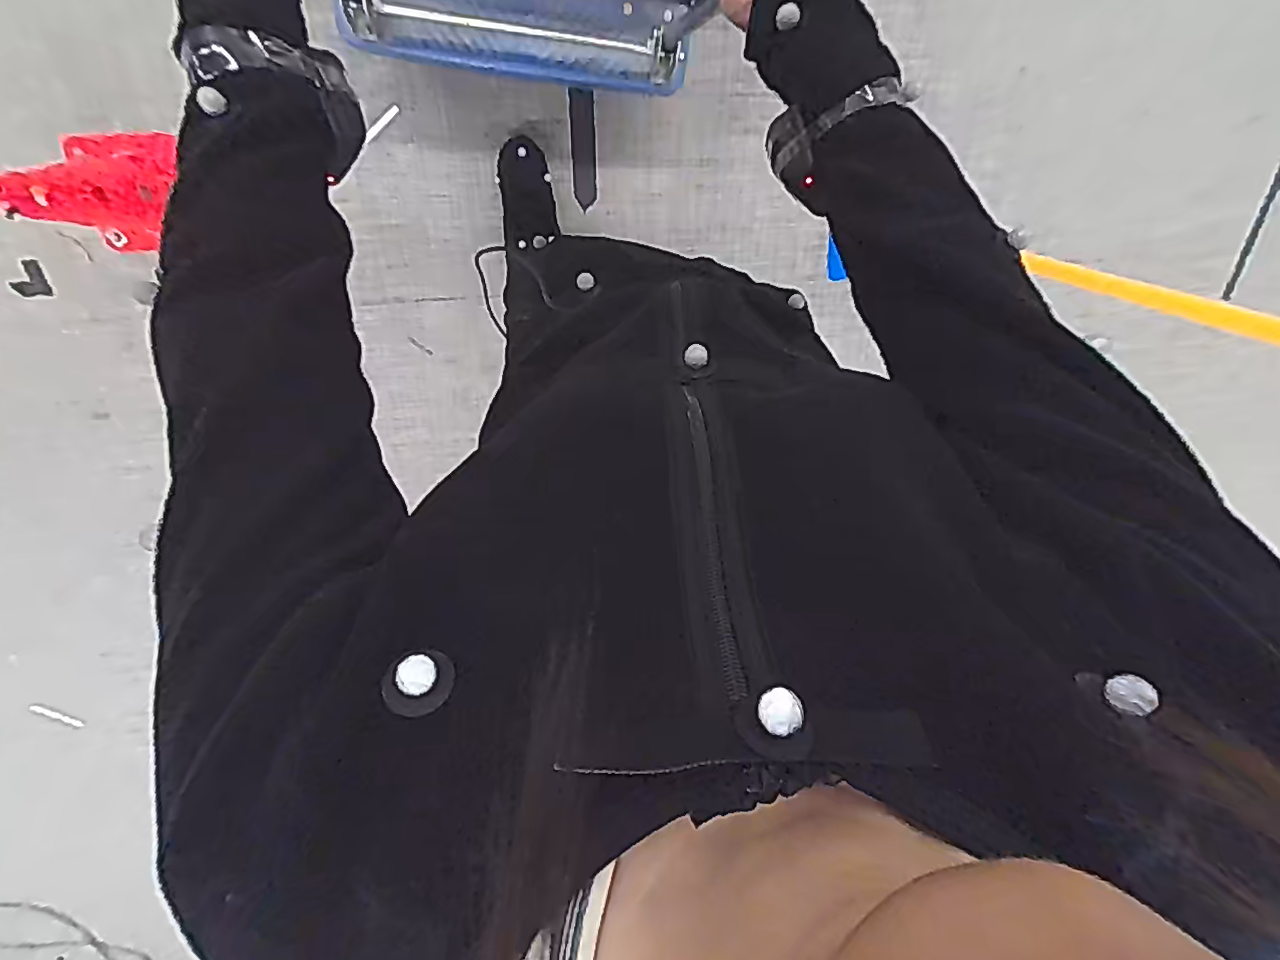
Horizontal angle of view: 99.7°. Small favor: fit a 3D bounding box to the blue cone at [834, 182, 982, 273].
[{"bbox_3d":[0.589,-0.537,1.169,0.193,0.380,0.192,-9,118,-6],"label":"blue cone"}]
